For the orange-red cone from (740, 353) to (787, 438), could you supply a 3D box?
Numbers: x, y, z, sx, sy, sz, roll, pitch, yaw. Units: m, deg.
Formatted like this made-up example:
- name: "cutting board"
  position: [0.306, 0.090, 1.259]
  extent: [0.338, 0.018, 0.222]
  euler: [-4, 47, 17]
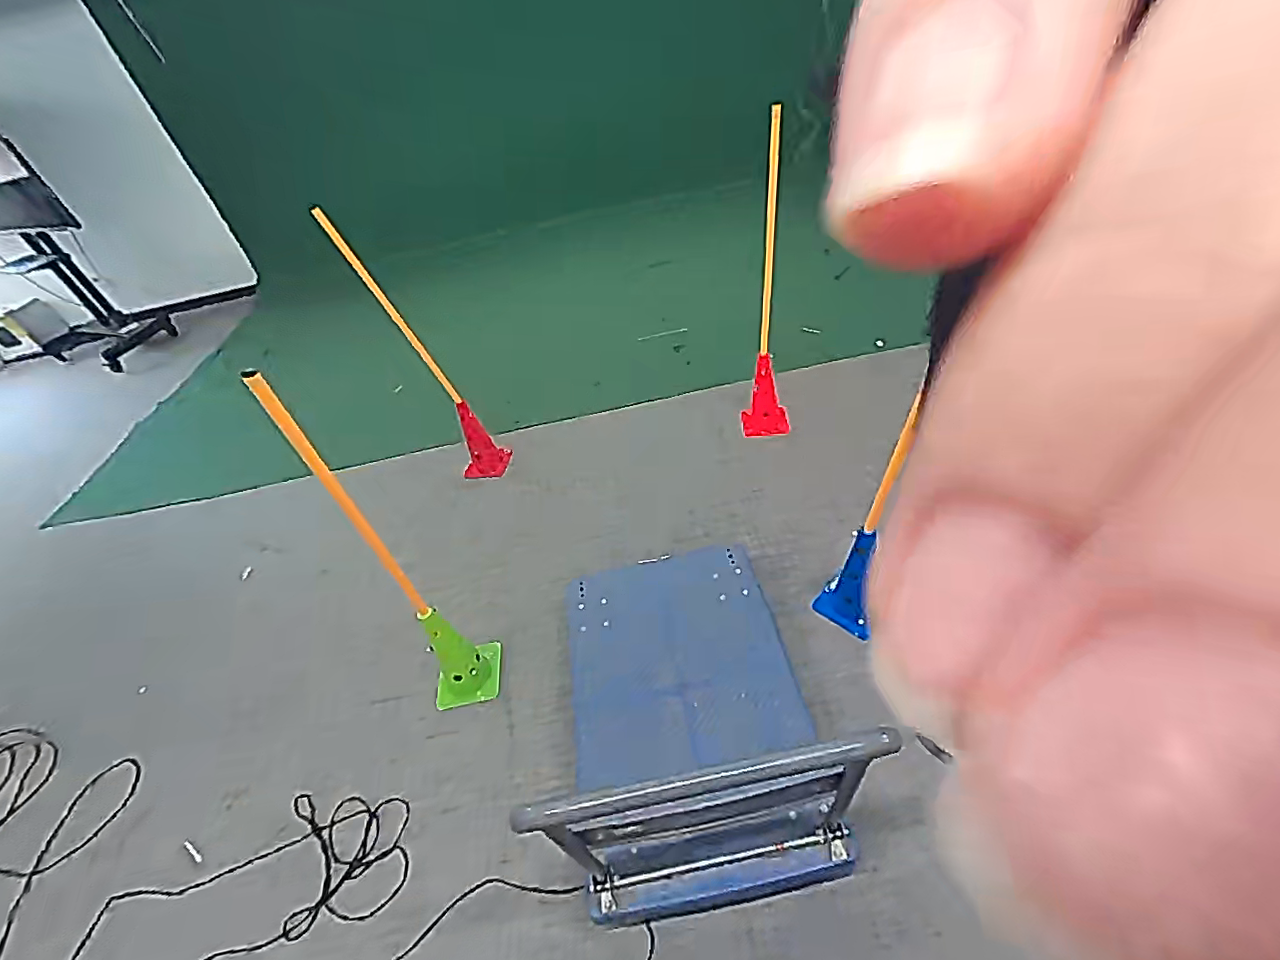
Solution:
- name: "orange-red cone"
  position: [0.525, -0.378, 2.319]
  extent: [0.198, 0.360, 0.199]
  euler: [-5, 43, 9]
